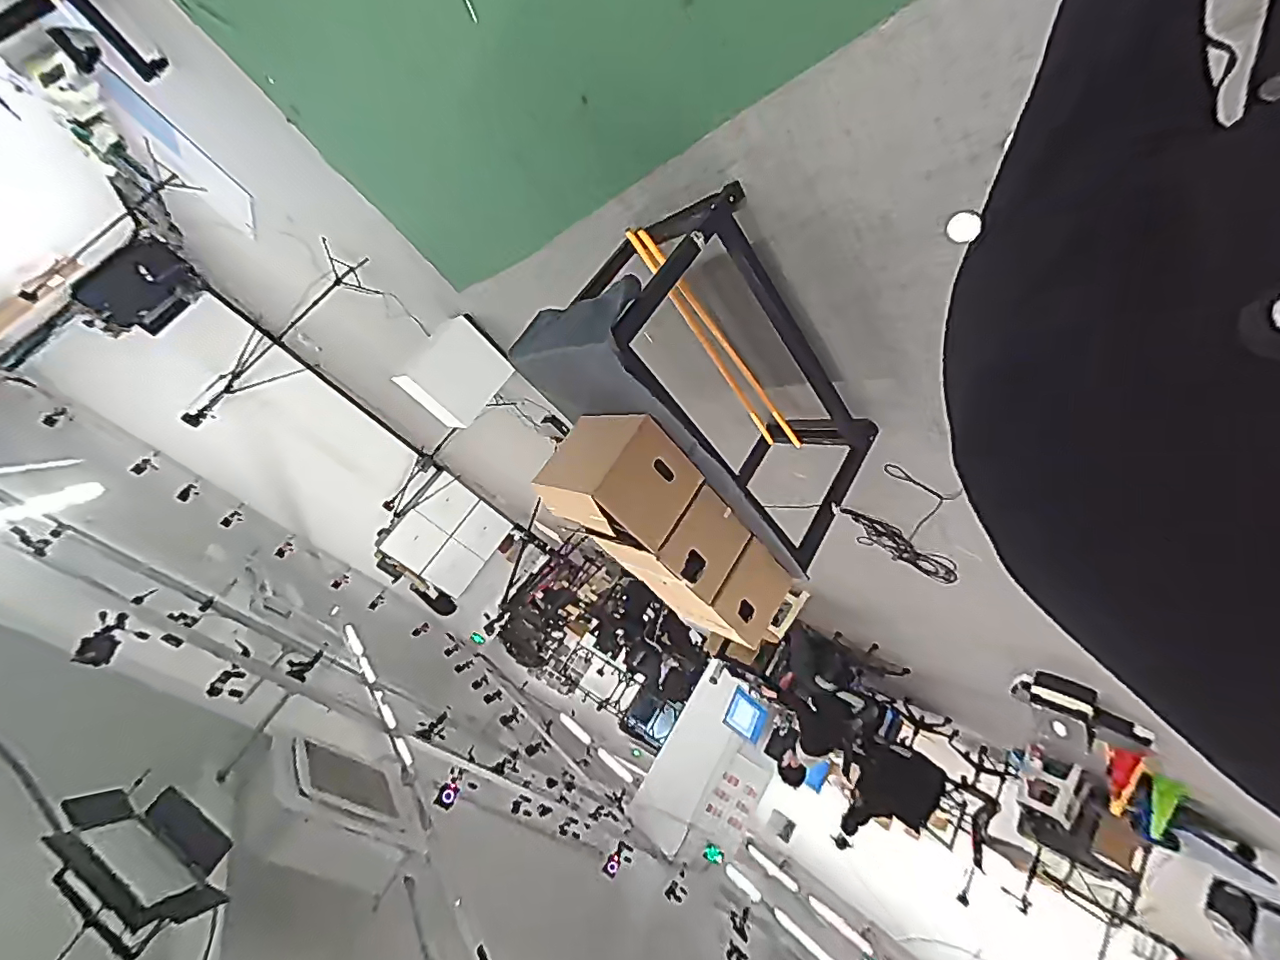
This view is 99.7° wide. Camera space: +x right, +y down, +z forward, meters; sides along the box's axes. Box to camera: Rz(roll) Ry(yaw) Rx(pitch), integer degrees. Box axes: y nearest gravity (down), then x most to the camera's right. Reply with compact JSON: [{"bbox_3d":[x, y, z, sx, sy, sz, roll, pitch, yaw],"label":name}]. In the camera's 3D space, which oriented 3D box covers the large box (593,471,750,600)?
[{"bbox_3d":[0.110,0.184,1.953,0.320,0.320,0.408,45,158,-29],"label":"large box"}]
